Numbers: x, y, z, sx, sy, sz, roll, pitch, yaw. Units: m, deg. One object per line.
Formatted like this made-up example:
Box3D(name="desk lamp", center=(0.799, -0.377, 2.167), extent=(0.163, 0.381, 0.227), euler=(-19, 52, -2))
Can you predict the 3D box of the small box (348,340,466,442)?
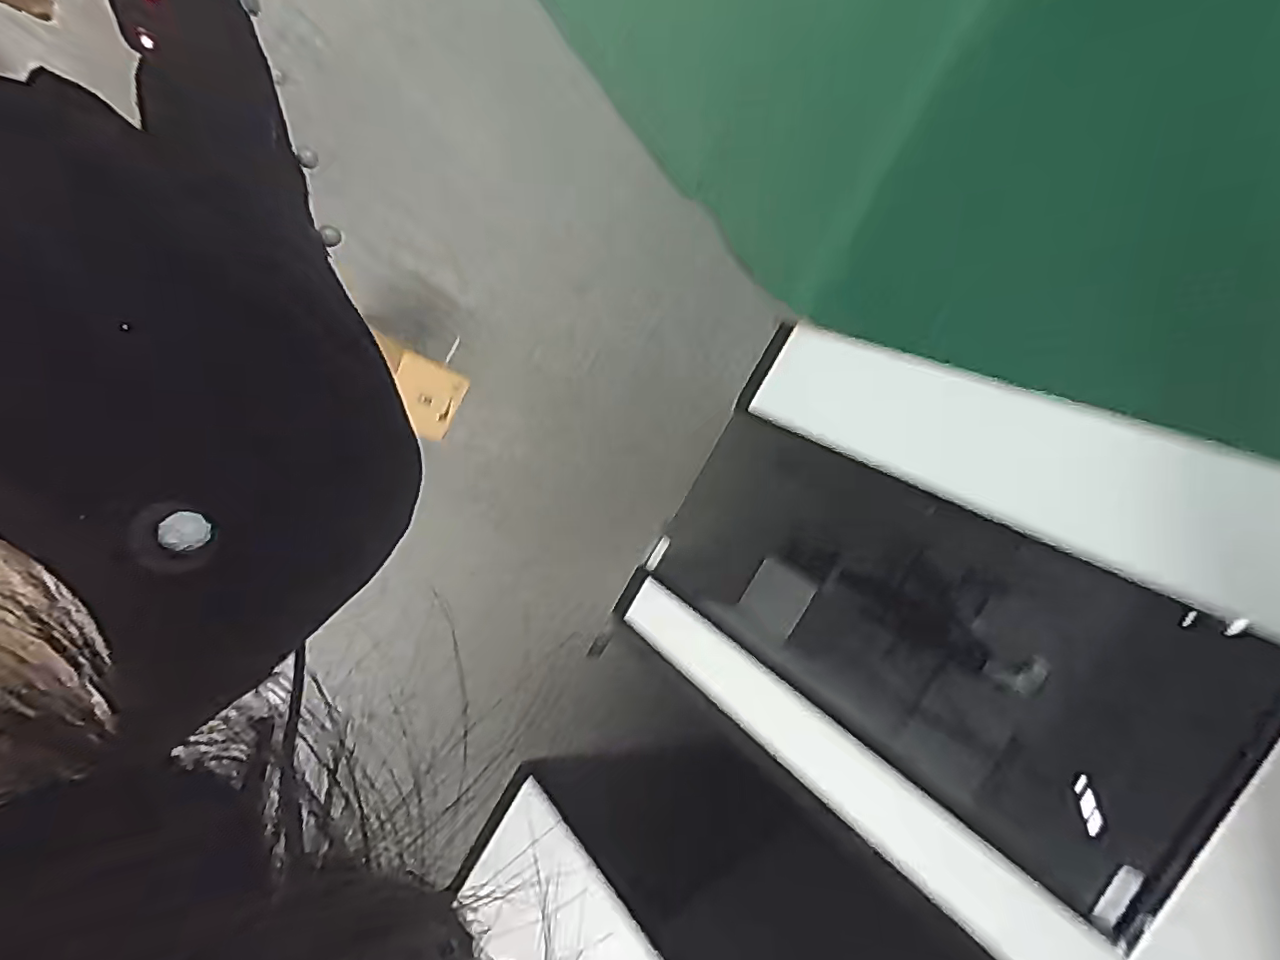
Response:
Box3D(name="small box", center=(-0.560, -0.216, 1.290), extent=(0.179, 0.176, 0.168), euler=(25, 97, -52))
